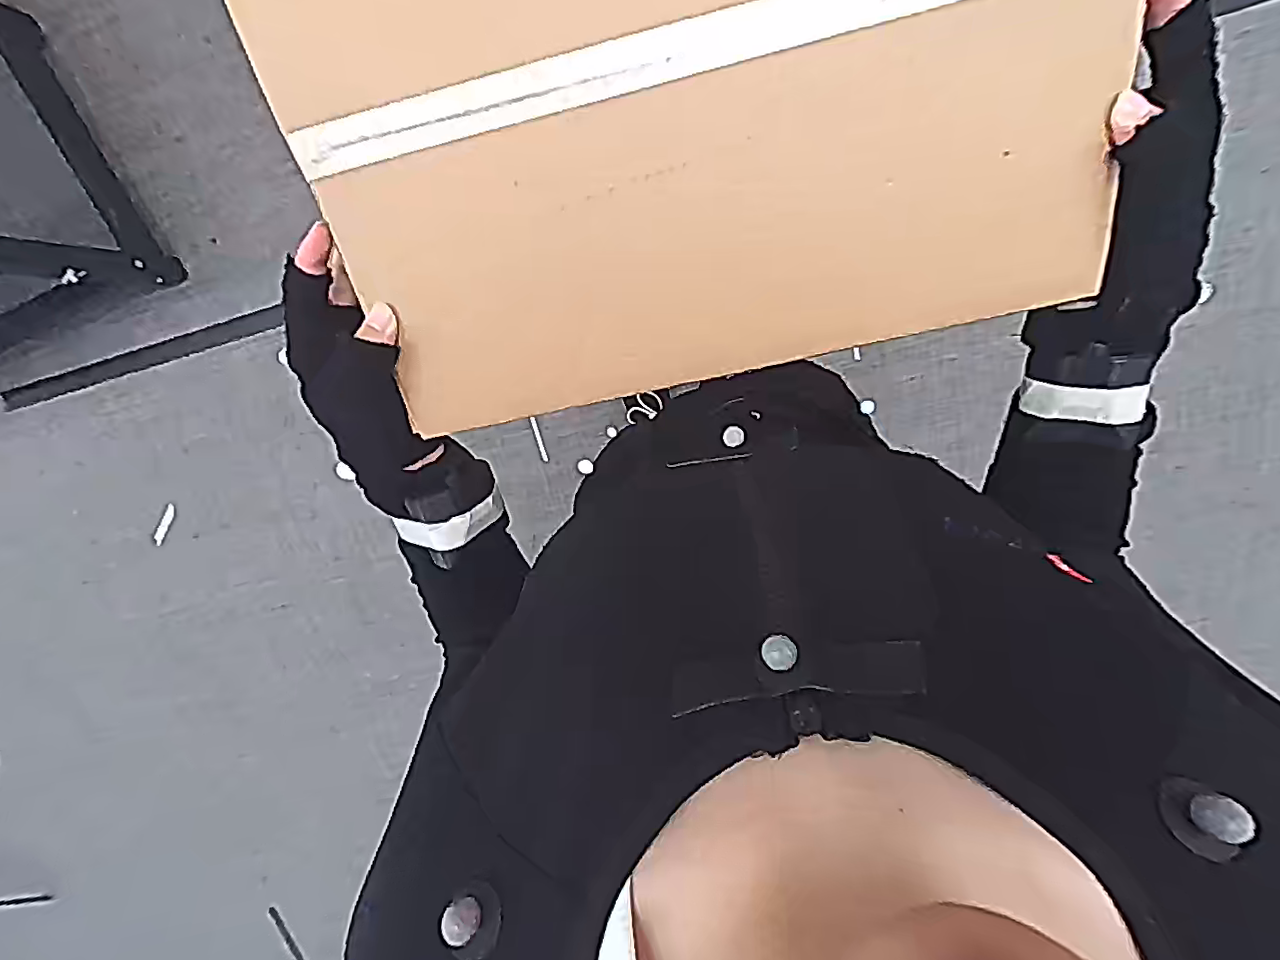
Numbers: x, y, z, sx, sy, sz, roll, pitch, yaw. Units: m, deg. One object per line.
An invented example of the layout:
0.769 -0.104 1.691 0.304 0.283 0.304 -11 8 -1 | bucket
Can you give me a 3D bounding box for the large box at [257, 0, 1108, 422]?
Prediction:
0.023 -0.273 0.402 0.408 0.320 0.320 -11 116 5 | large box
